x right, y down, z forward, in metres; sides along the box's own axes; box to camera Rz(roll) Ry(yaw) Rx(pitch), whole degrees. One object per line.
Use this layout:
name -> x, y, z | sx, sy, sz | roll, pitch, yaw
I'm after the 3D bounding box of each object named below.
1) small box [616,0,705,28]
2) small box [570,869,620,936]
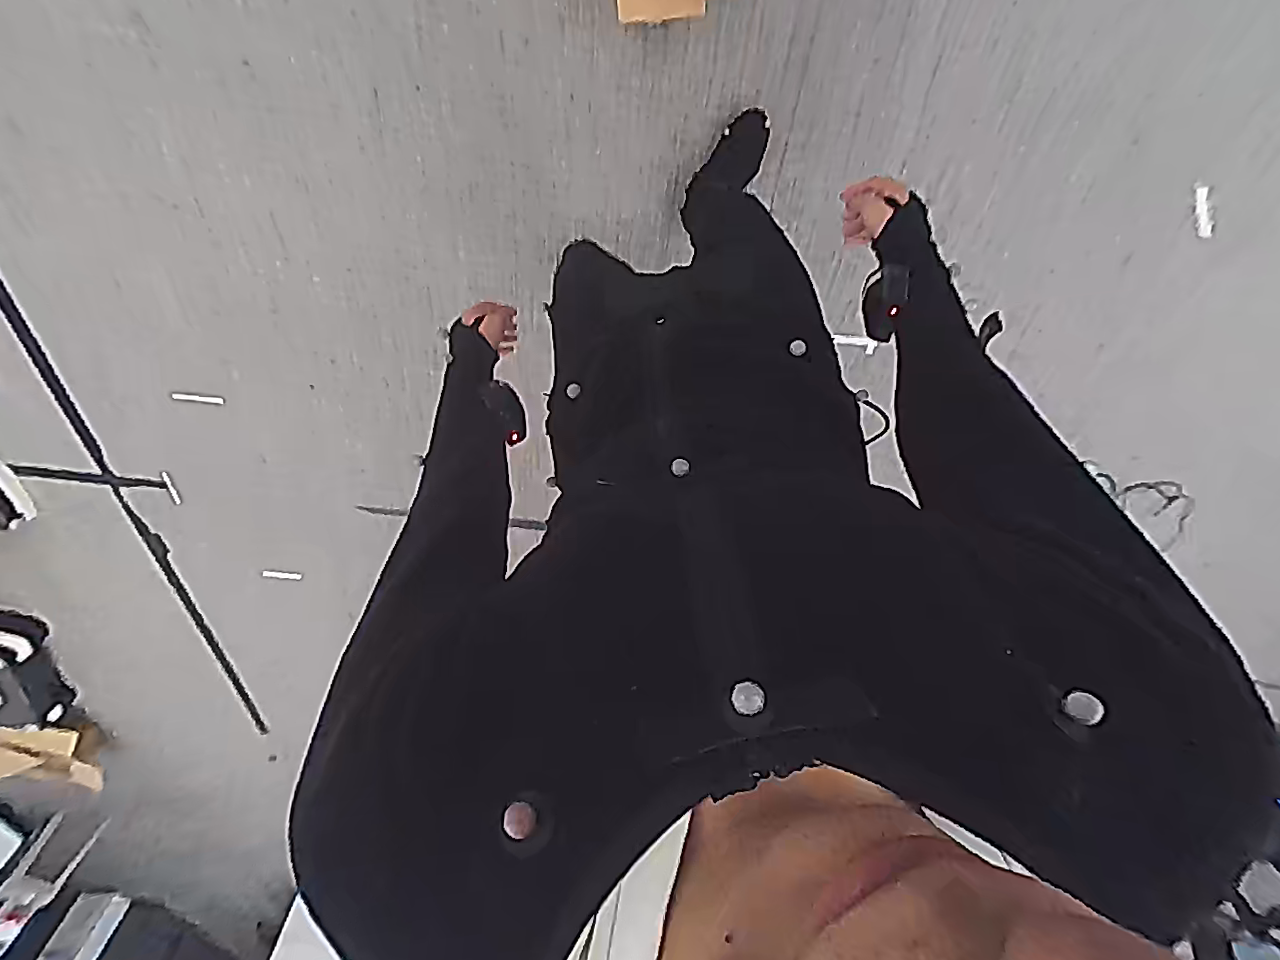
small box -> 0.035, -0.975, 1.018 | 0.168, 0.176, 0.179 | -2, 127, 3
small box -> -0.174, 1.633, 2.092 | 0.179, 0.176, 0.168 | 4, 128, -2
